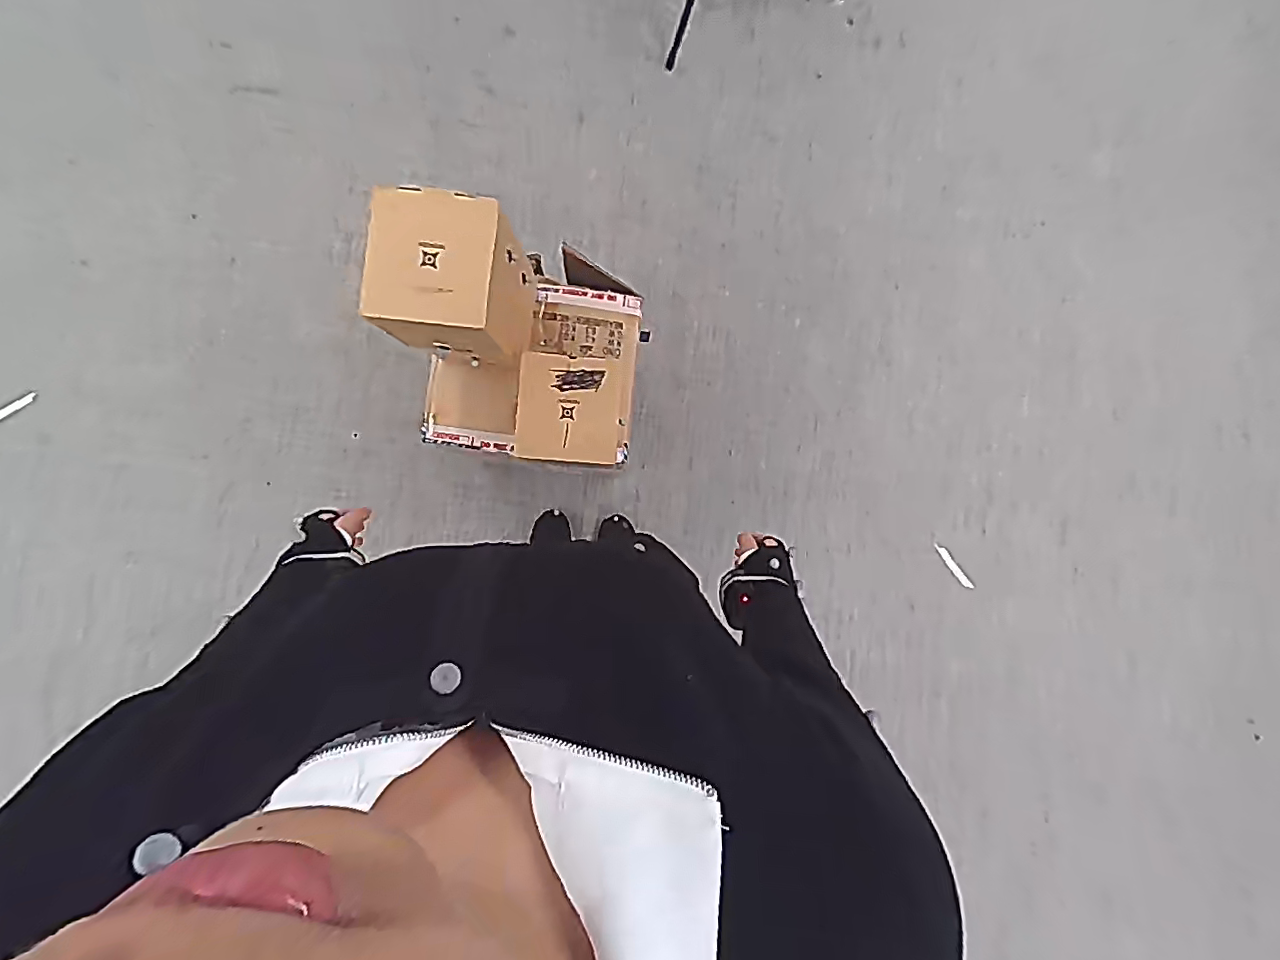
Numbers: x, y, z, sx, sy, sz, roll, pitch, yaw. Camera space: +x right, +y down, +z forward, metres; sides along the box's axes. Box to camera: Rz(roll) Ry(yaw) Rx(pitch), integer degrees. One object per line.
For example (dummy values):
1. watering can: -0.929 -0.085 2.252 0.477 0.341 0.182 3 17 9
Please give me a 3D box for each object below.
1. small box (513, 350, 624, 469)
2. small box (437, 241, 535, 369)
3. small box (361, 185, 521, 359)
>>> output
1. small box: -0.120 -0.115 0.949 0.168 0.176 0.179 5 89 -3
2. small box: -0.283 -0.307 0.945 0.168 0.176 0.179 6 89 -2
3. small box: -0.273 -0.288 0.782 0.168 0.176 0.179 6 90 -1
